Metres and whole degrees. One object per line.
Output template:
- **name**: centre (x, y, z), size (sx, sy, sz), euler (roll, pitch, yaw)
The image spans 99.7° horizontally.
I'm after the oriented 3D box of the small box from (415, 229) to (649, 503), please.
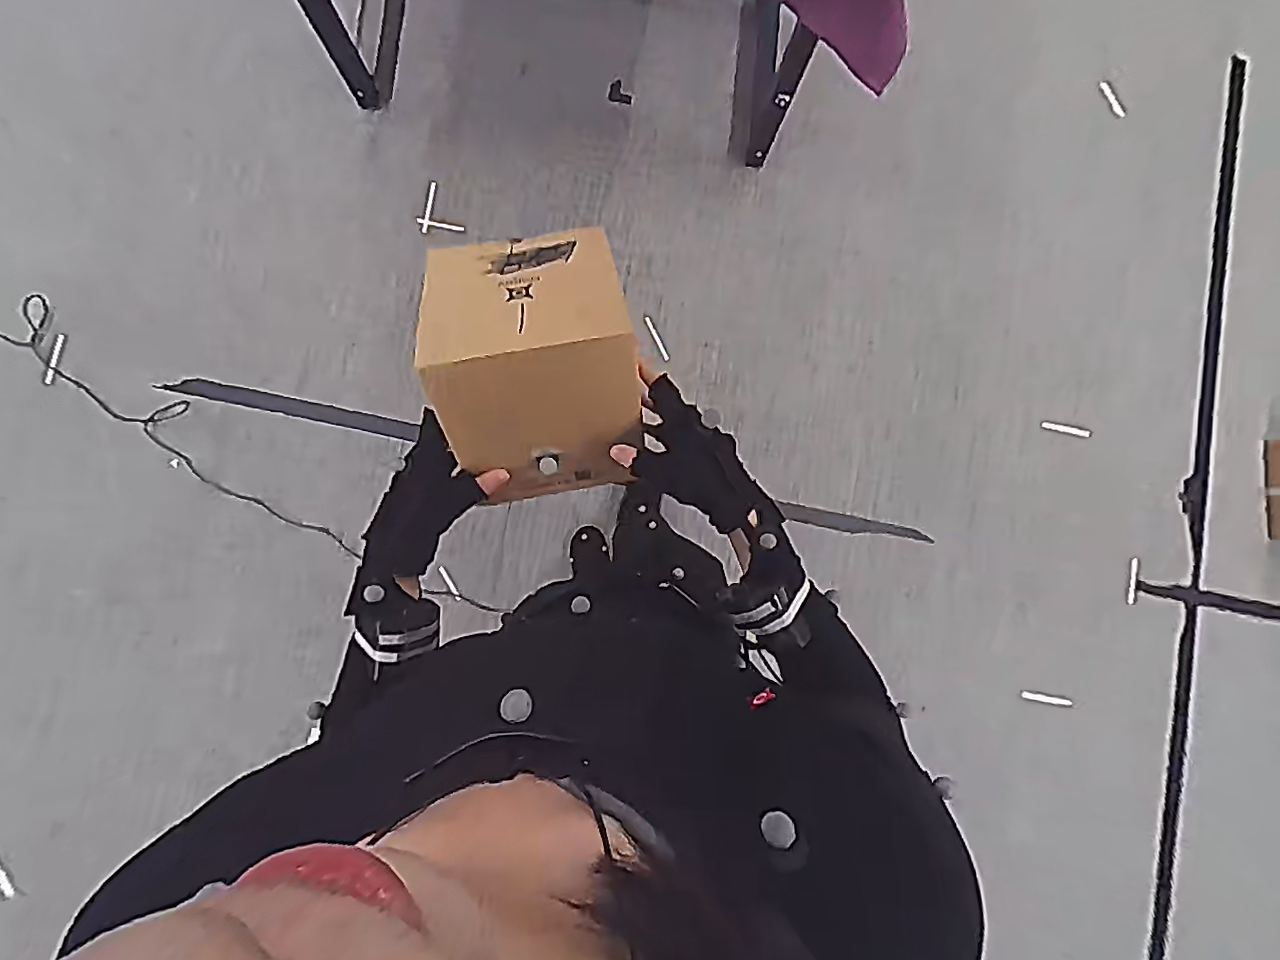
- **small box**: centre (-0.089, -0.105, 0.503), size (0.168, 0.176, 0.179), euler (-11, 48, -4)
